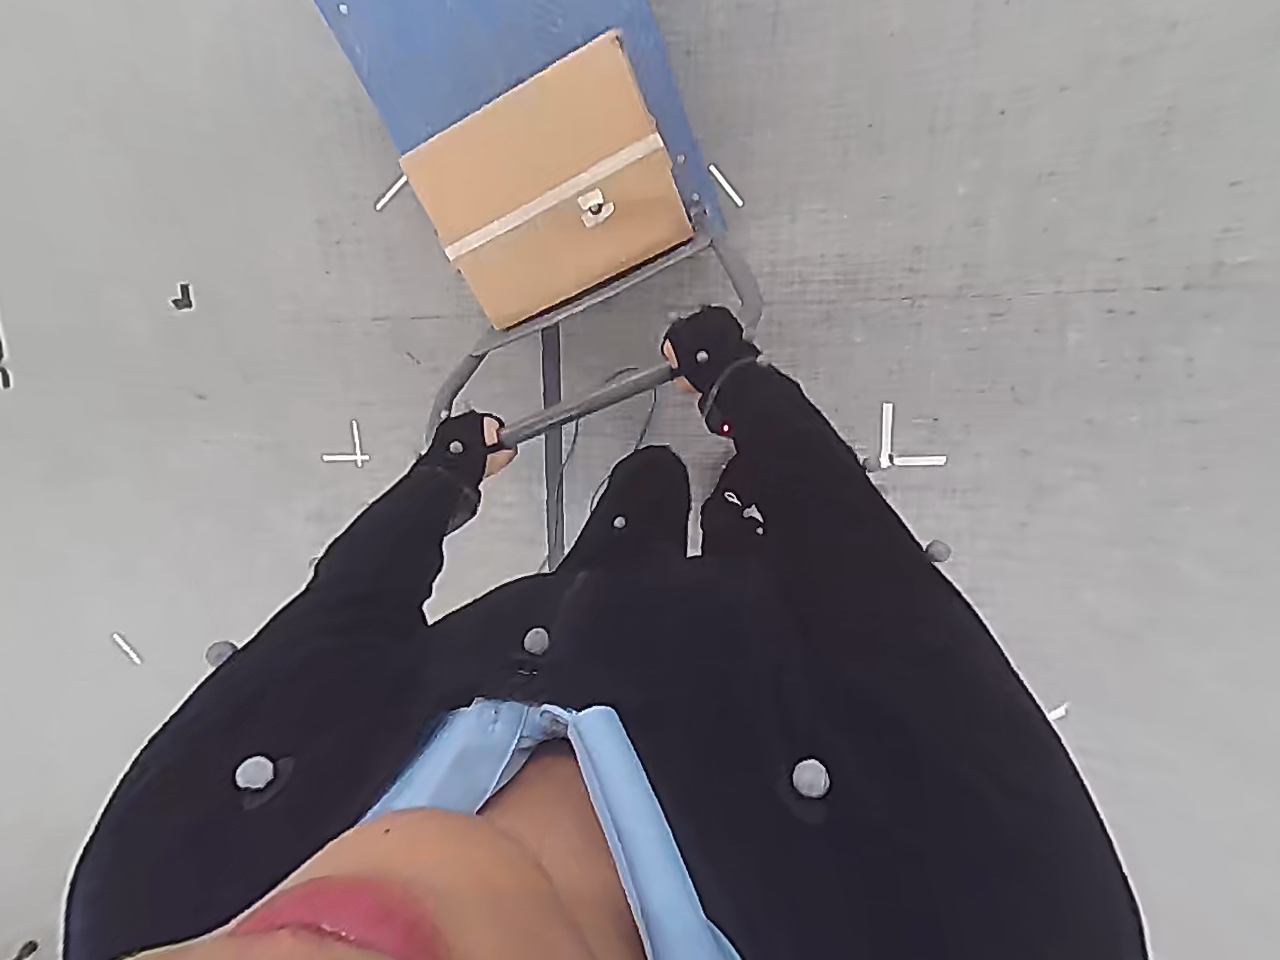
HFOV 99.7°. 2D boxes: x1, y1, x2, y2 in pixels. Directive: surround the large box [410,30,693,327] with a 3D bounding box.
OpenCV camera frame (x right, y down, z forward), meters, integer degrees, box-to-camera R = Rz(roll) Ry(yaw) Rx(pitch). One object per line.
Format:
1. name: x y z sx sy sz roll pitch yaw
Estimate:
1. large box: -0.145 -0.554 1.054 0.408 0.320 0.320 -23 116 13
